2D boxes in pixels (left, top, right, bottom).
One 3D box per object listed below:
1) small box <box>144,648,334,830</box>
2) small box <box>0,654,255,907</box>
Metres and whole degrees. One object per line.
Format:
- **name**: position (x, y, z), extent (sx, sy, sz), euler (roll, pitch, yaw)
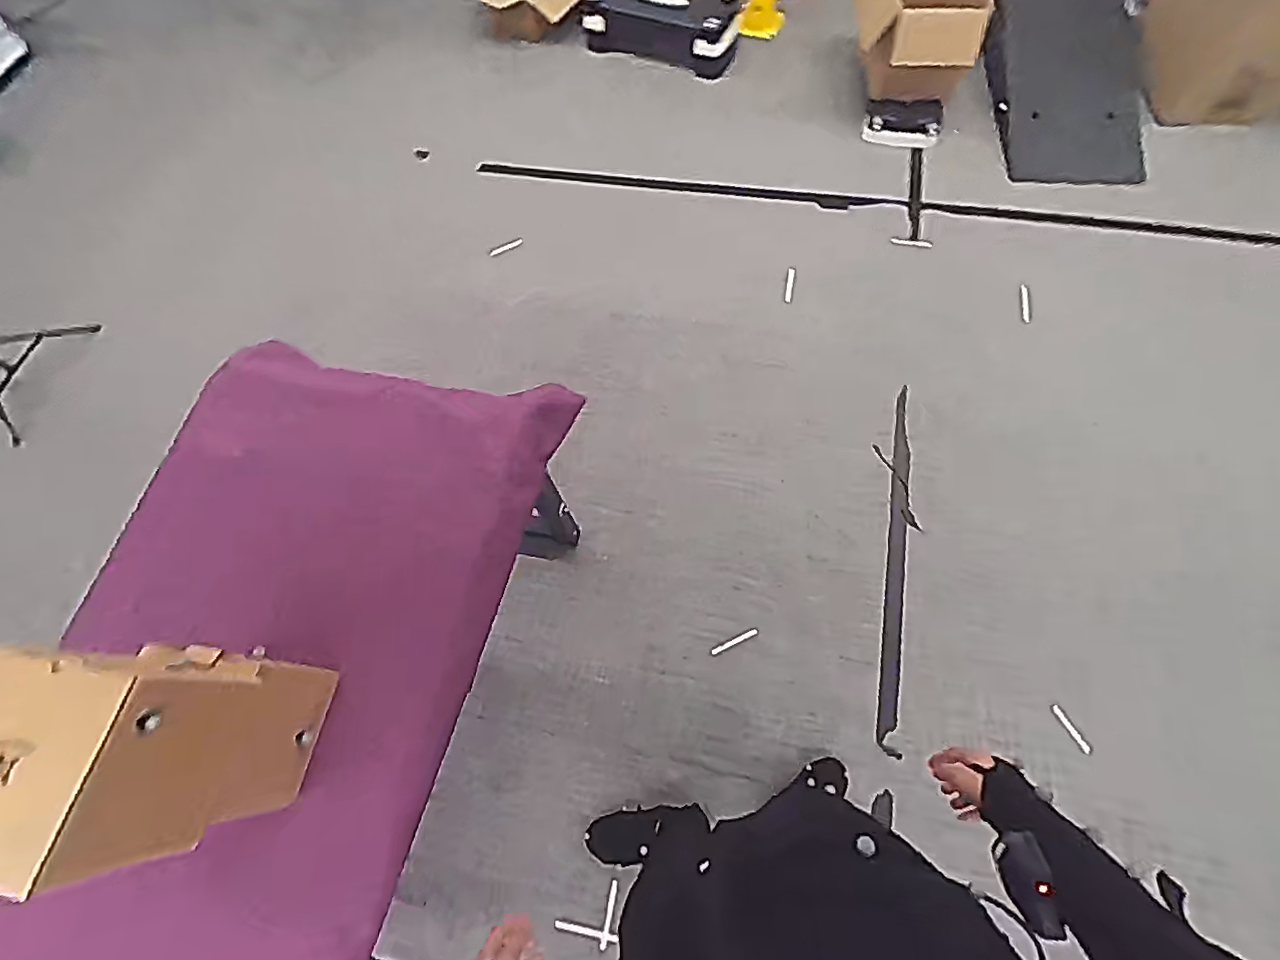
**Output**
- **small box**: position (-0.541, 0.331, 0.708), extent (0.168, 0.176, 0.179), euler (6, 67, 8)
- **small box**: position (-0.547, 0.286, 0.550), extent (0.168, 0.176, 0.179), euler (7, 68, 8)
